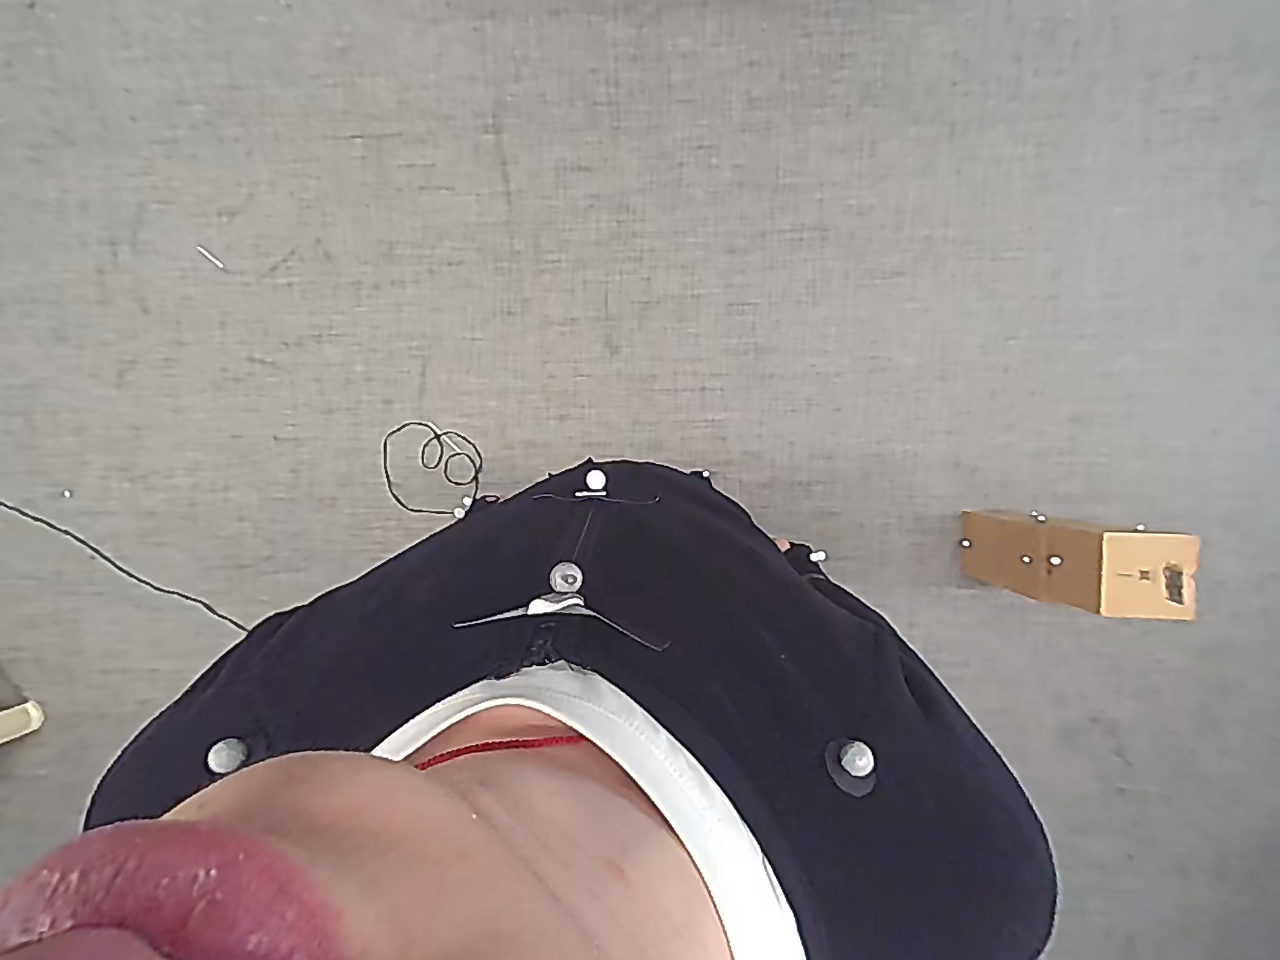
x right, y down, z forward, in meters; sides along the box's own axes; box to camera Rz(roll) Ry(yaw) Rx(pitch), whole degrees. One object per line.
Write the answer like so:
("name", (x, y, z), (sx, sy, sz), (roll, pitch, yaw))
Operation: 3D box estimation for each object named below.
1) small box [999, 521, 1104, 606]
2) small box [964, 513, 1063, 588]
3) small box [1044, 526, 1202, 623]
("small box", (0.981, 0.191, 1.275), (0.168, 0.176, 0.179), (1, 93, 3))
("small box", (0.991, 0.186, 1.438), (0.168, 0.176, 0.179), (2, 92, 2))
("small box", (0.981, 0.187, 1.110), (0.179, 0.176, 0.168), (2, 91, 4))
